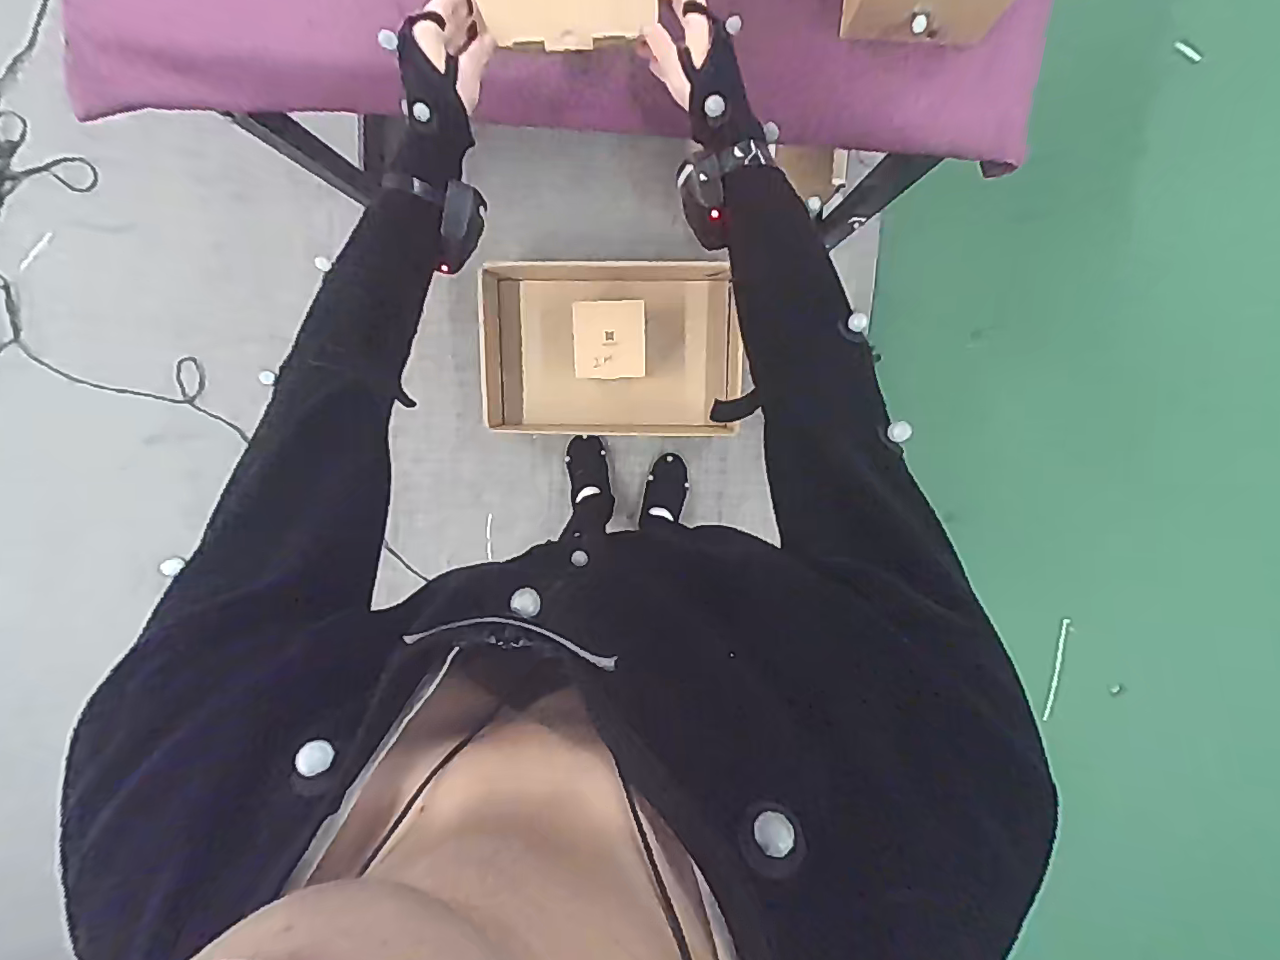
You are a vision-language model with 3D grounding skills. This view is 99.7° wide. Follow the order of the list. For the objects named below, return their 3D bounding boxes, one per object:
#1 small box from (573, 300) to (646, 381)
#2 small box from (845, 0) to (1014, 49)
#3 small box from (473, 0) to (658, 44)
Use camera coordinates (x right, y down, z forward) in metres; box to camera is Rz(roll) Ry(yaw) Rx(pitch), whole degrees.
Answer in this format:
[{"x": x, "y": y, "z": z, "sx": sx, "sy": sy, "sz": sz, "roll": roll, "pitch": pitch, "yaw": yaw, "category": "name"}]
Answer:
[{"x": -0.071, "y": -0.331, "z": 1.305, "sx": 0.168, "sy": 0.176, "sz": 0.179, "roll": -1, "pitch": 100, "yaw": 1, "category": "small box"}, {"x": 0.332, "y": -0.609, "z": 0.569, "sx": 0.168, "sy": 0.176, "sz": 0.179, "roll": 4, "pitch": 98, "yaw": 1, "category": "small box"}, {"x": -0.066, "y": -0.518, "z": 0.500, "sx": 0.168, "sy": 0.176, "sz": 0.179, "roll": -2, "pitch": 127, "yaw": 1, "category": "small box"}]
